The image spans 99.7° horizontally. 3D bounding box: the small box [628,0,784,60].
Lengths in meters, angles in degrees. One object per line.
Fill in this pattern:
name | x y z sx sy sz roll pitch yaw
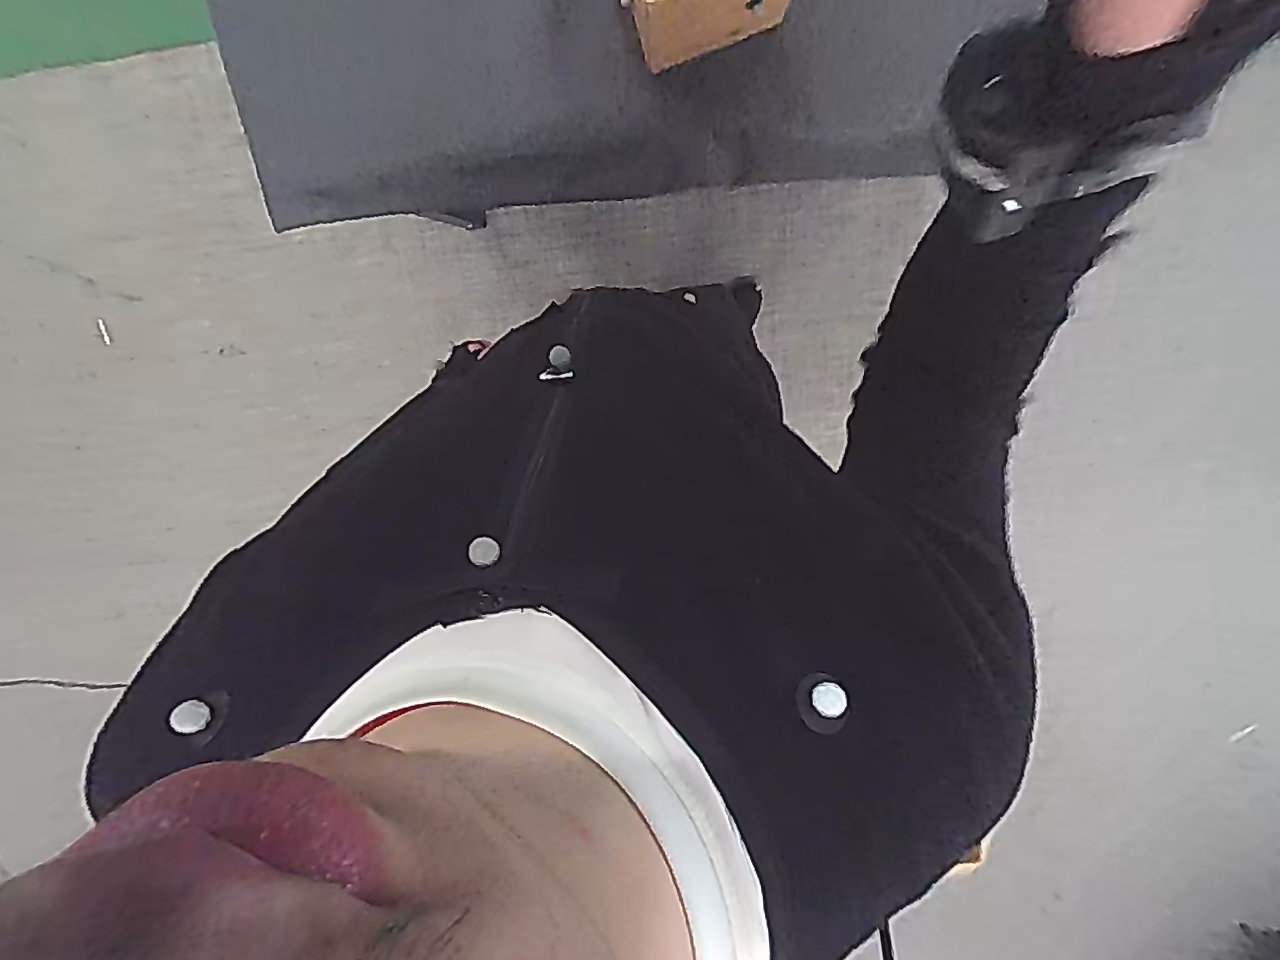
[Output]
small box | 0.061 -0.572 0.551 0.168 0.176 0.179 -18 107 7
